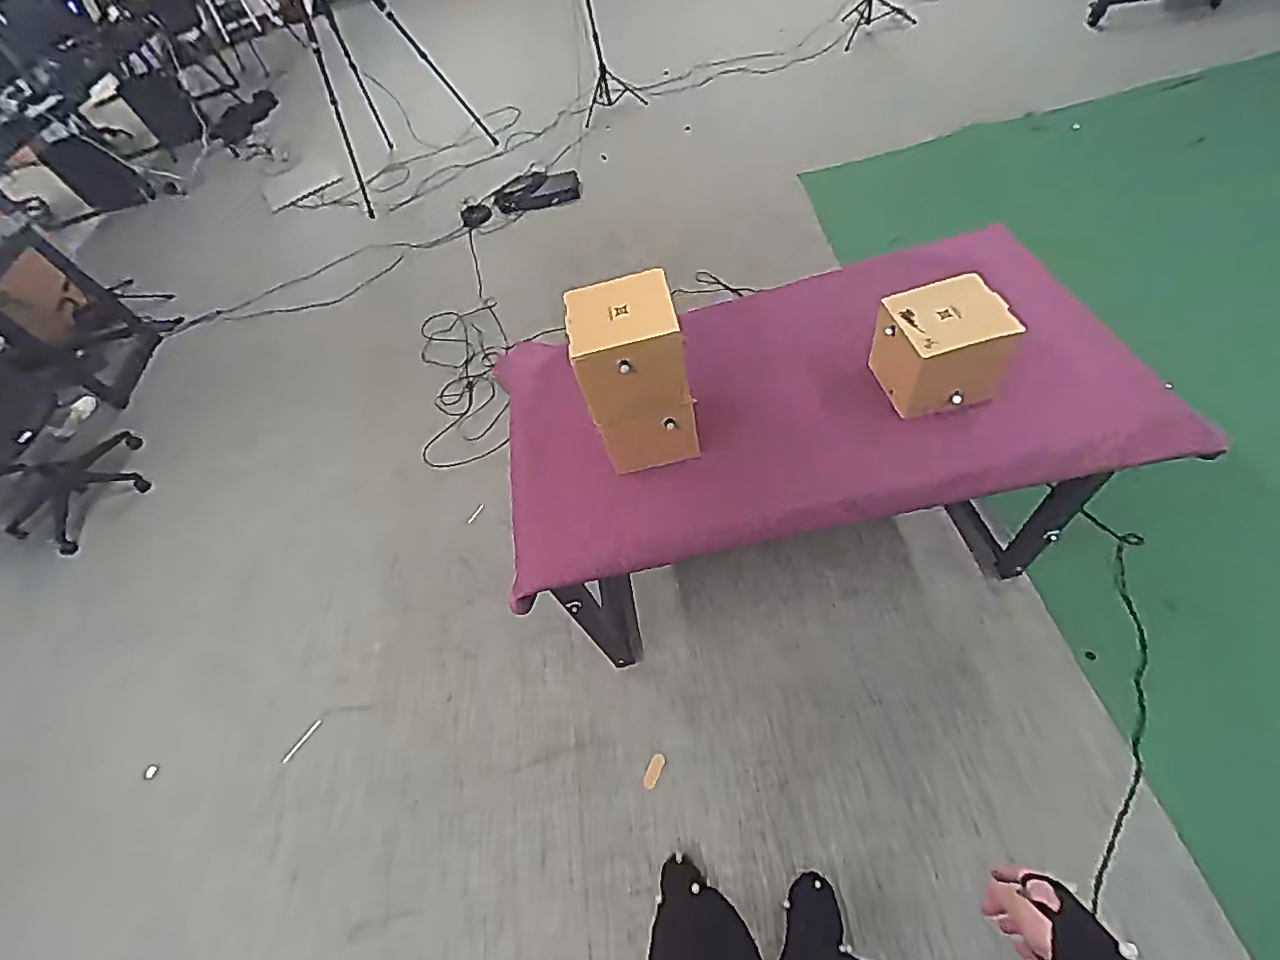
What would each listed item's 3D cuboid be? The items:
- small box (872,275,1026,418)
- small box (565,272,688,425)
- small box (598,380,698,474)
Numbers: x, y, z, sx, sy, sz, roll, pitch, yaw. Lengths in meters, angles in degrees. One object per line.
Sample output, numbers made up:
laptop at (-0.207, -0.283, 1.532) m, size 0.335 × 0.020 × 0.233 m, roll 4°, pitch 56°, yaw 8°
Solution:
small box at (0.556, -0.242, 1.003) m, size 0.179 × 0.176 × 0.168 m, roll -15°, pitch 54°, yaw 5°
small box at (-0.017, -0.221, 0.937) m, size 0.179 × 0.176 × 0.168 m, roll -14°, pitch 56°, yaw 6°
small box at (0.015, -0.136, 1.070) m, size 0.179 × 0.176 × 0.168 m, roll -13°, pitch 54°, yaw 5°
